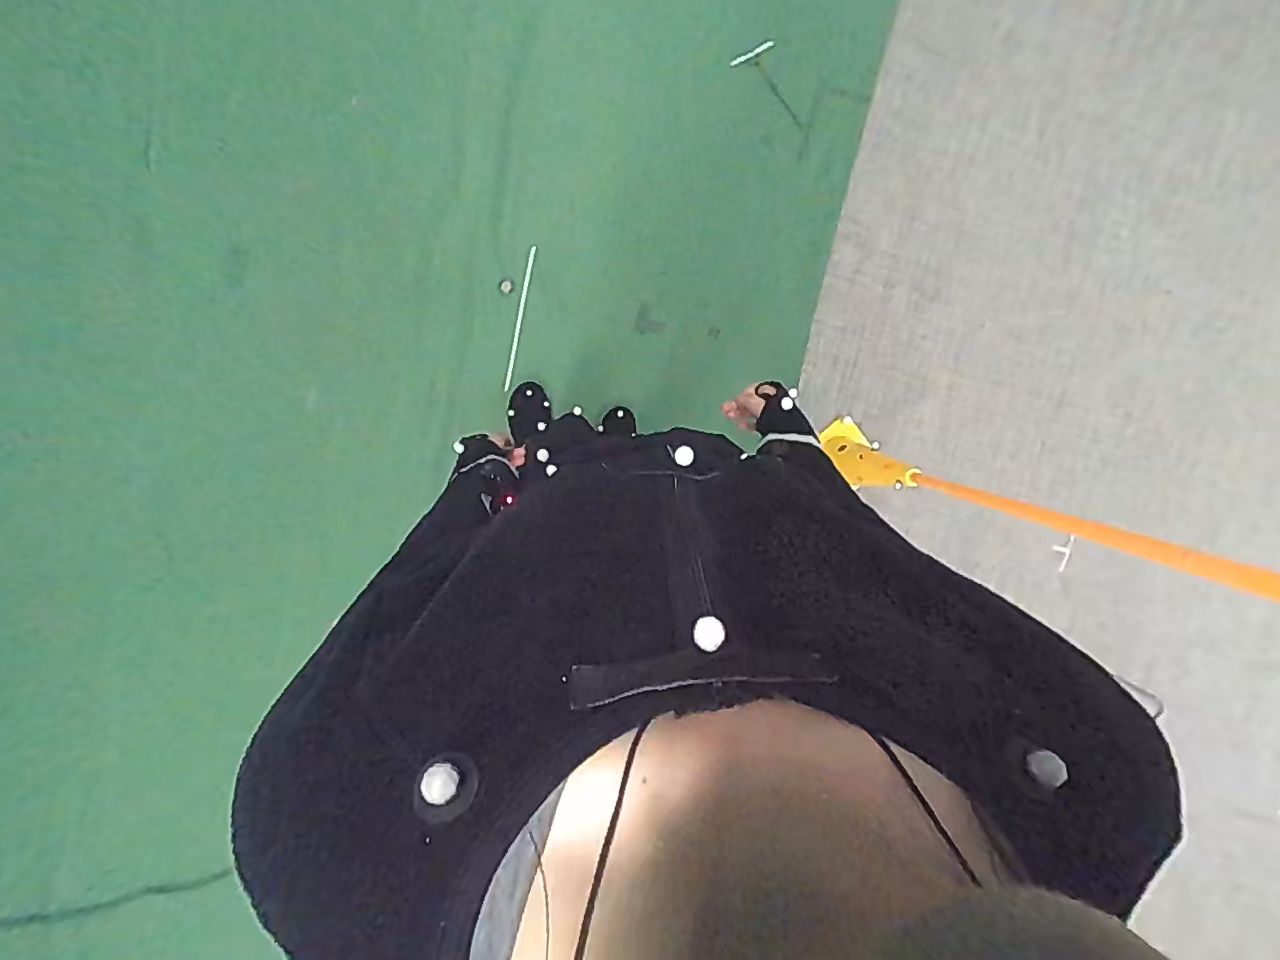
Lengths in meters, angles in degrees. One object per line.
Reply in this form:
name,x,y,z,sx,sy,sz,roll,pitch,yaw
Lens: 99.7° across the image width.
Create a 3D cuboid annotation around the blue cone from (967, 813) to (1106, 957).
blue cone,1.222,1.237,1.639,0.192,0.380,0.193,-33,103,-2
